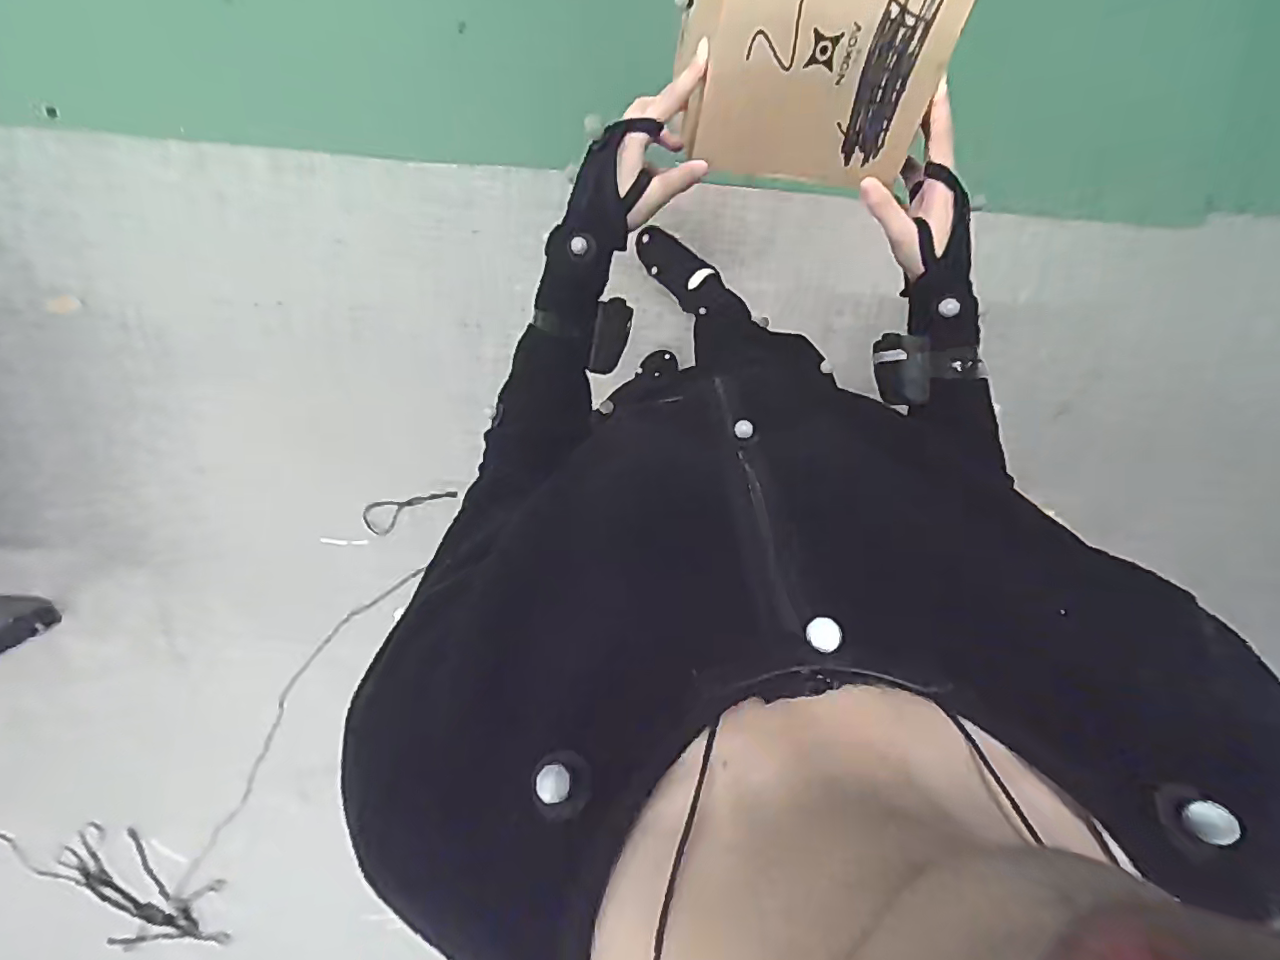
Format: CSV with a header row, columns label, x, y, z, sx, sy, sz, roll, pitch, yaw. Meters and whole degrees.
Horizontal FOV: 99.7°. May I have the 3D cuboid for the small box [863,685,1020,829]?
label,x,y,z,sx,sy,sz,roll,pitch,yaw
small box,0.532,0.502,0.983,0.168,0.176,0.179,8,107,-3
